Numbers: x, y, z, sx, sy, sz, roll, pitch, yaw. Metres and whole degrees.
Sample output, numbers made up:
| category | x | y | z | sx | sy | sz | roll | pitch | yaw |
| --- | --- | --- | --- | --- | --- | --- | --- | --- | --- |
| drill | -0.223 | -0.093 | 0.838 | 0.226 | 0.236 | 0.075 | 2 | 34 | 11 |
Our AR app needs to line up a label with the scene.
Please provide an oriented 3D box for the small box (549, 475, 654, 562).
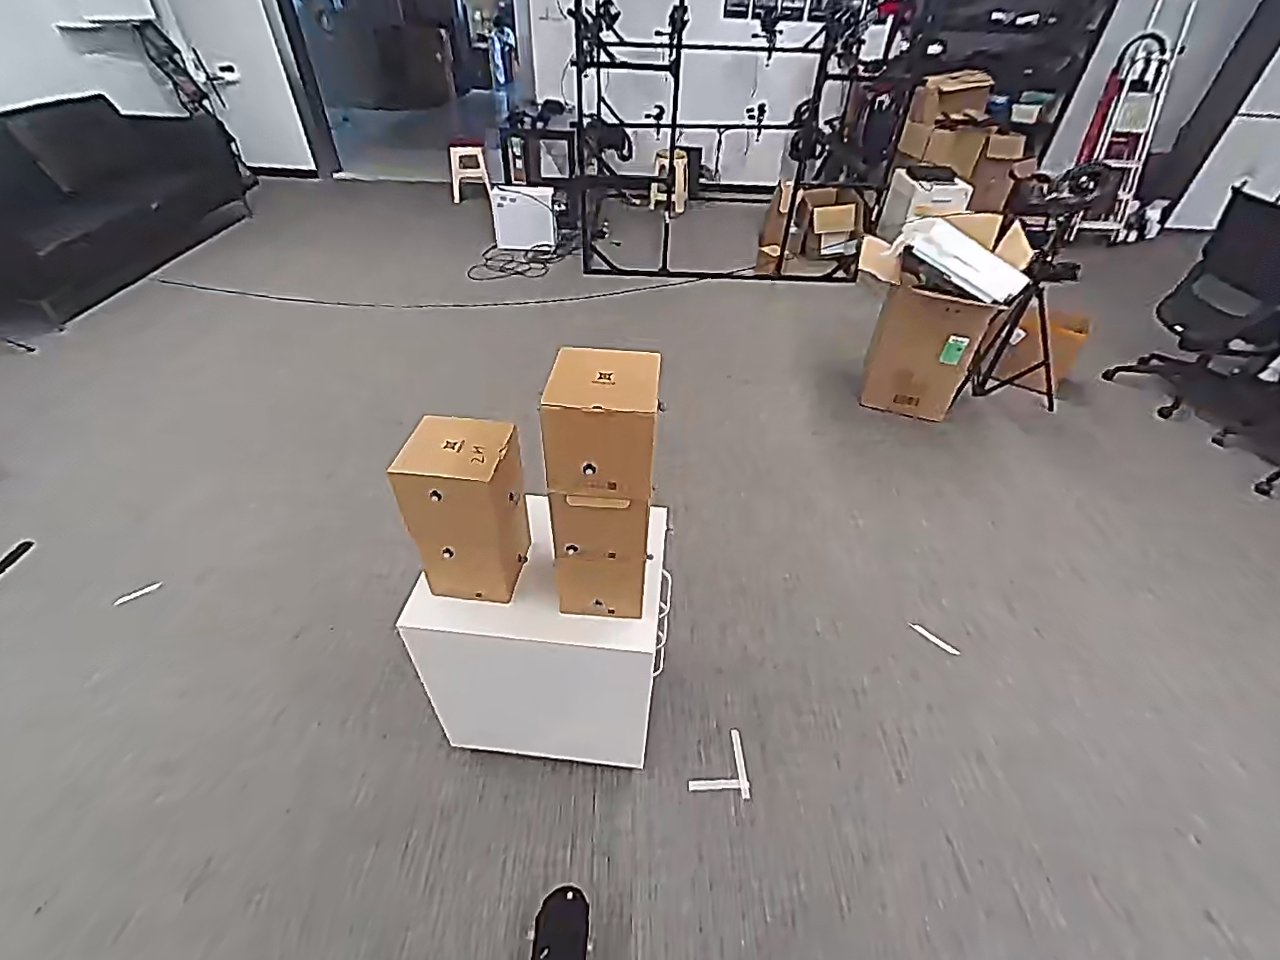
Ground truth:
| category | x | y | z | sx | sy | sz | roll | pitch | yaw |
| --- | --- | --- | --- | --- | --- | --- | --- | --- | --- |
| small box | -0.061 | 0.030 | 0.979 | 0.168 | 0.176 | 0.179 | 4 | 41 | 2 |

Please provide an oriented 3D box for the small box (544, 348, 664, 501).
| category | x | y | z | sx | sy | sz | roll | pitch | yaw |
| --- | --- | --- | --- | --- | --- | --- | --- | --- | --- |
| small box | -0.054 | -0.091 | 0.870 | 0.168 | 0.176 | 0.179 | 4 | 42 | 1 |

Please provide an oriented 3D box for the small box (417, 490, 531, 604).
| category | x | y | z | sx | sy | sz | roll | pitch | yaw |
| --- | --- | --- | --- | --- | --- | --- | --- | --- | --- |
| small box | -0.326 | 0.125 | 1.103 | 0.168 | 0.176 | 0.179 | 6 | 41 | 4 |

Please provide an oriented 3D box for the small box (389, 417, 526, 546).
| category | x | y | z | sx | sy | sz | roll | pitch | yaw |
| --- | --- | --- | --- | --- | --- | --- | --- | --- | --- |
| small box | -0.320 | 0.004 | 0.991 | 0.179 | 0.176 | 0.168 | 6 | 42 | 3 |
